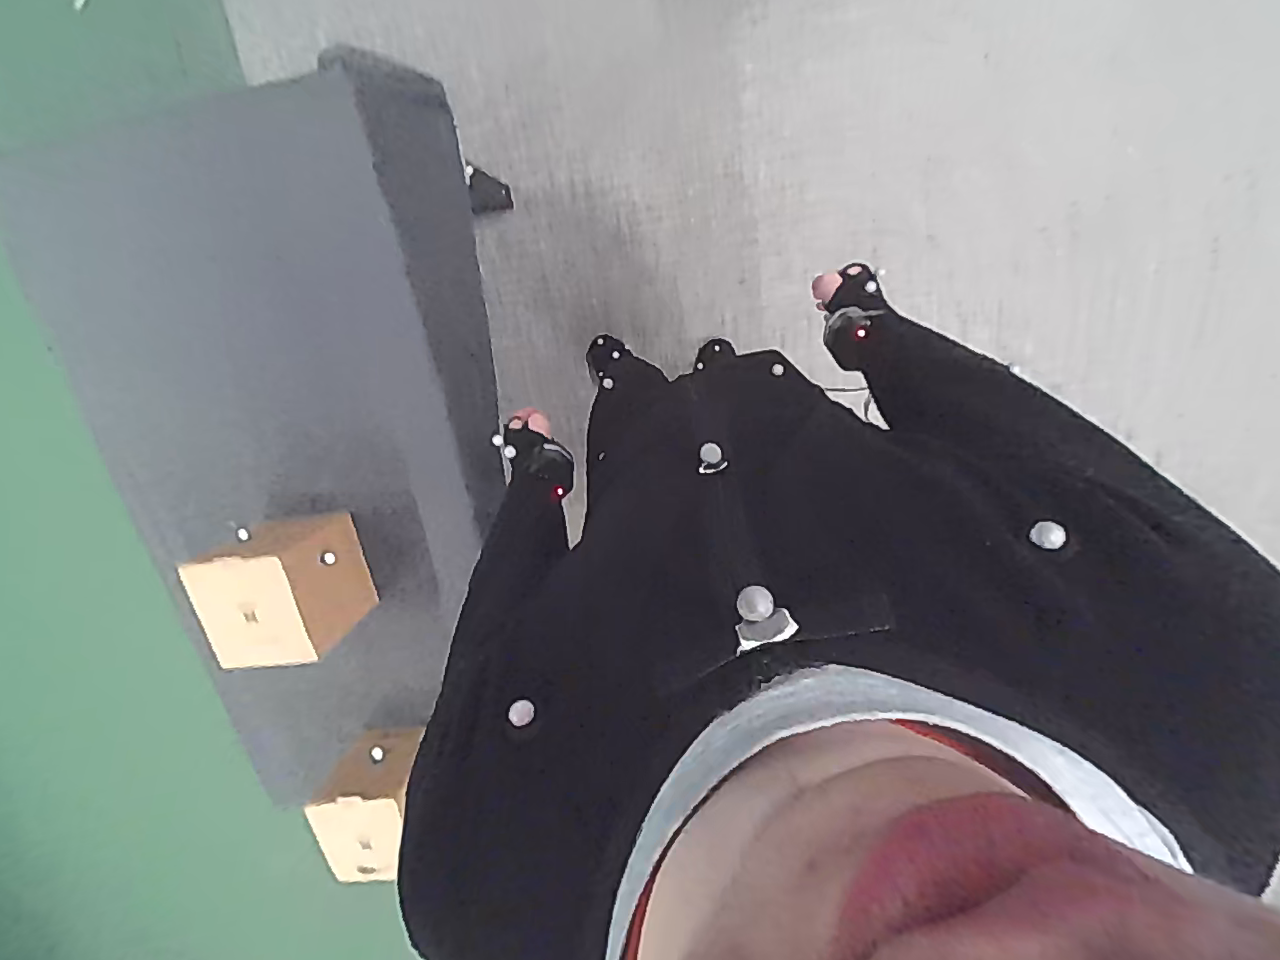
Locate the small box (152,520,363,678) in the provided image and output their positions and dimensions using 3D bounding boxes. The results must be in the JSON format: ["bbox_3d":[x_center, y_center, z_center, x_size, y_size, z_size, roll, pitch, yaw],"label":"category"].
[{"bbox_3d":[-0.561,0.169,0.821,0.168,0.176,0.179,-7,109,7],"label":"small box"}]
